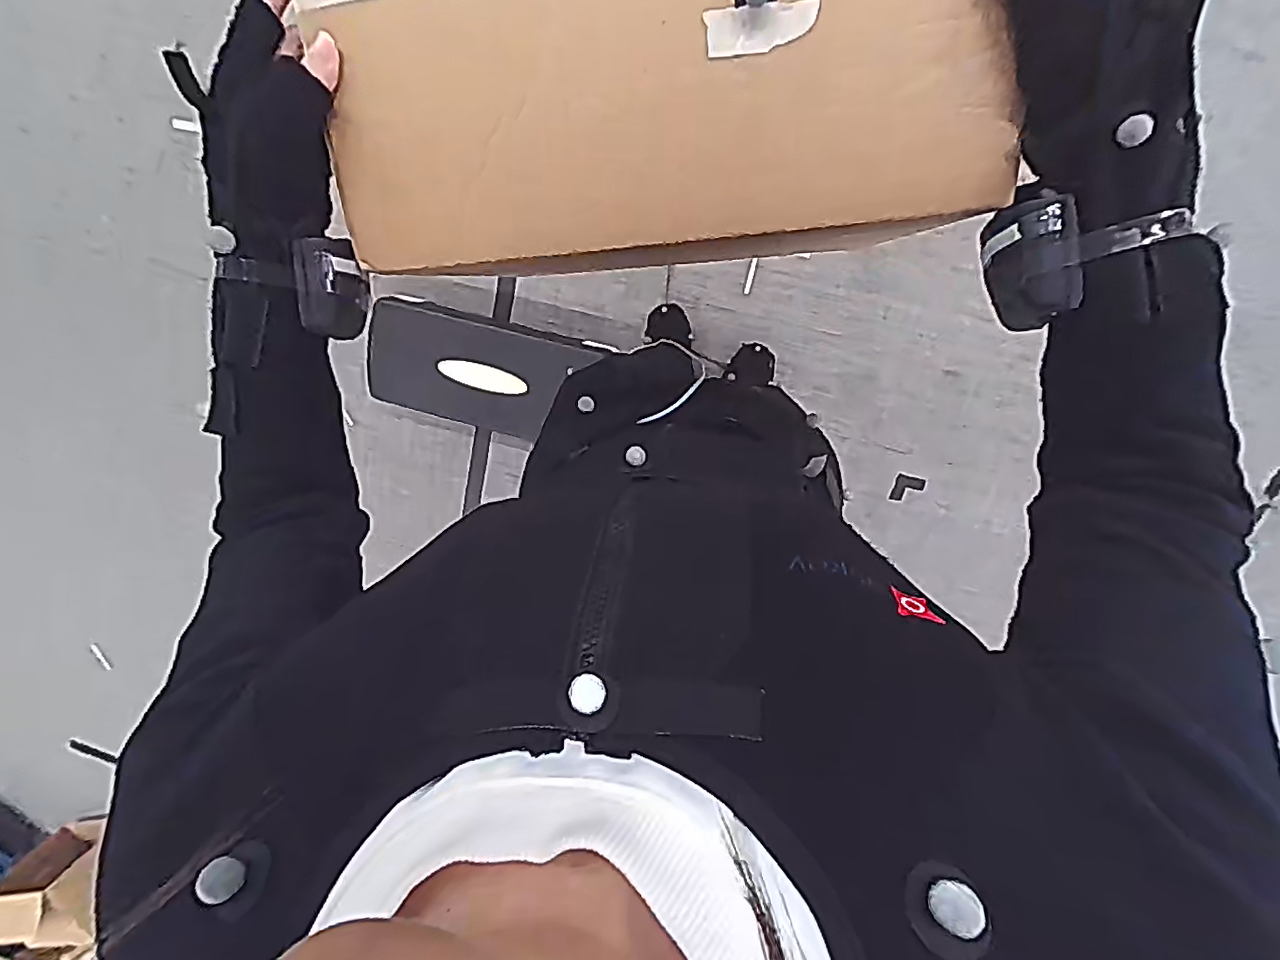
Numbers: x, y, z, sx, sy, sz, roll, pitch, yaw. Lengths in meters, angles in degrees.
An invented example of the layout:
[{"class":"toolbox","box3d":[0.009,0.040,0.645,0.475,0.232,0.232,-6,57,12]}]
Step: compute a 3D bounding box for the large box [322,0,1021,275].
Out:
[{"class":"large box","box3d":[0.020,-0.353,0.435,0.408,0.320,0.320,-2,110,10]}]
